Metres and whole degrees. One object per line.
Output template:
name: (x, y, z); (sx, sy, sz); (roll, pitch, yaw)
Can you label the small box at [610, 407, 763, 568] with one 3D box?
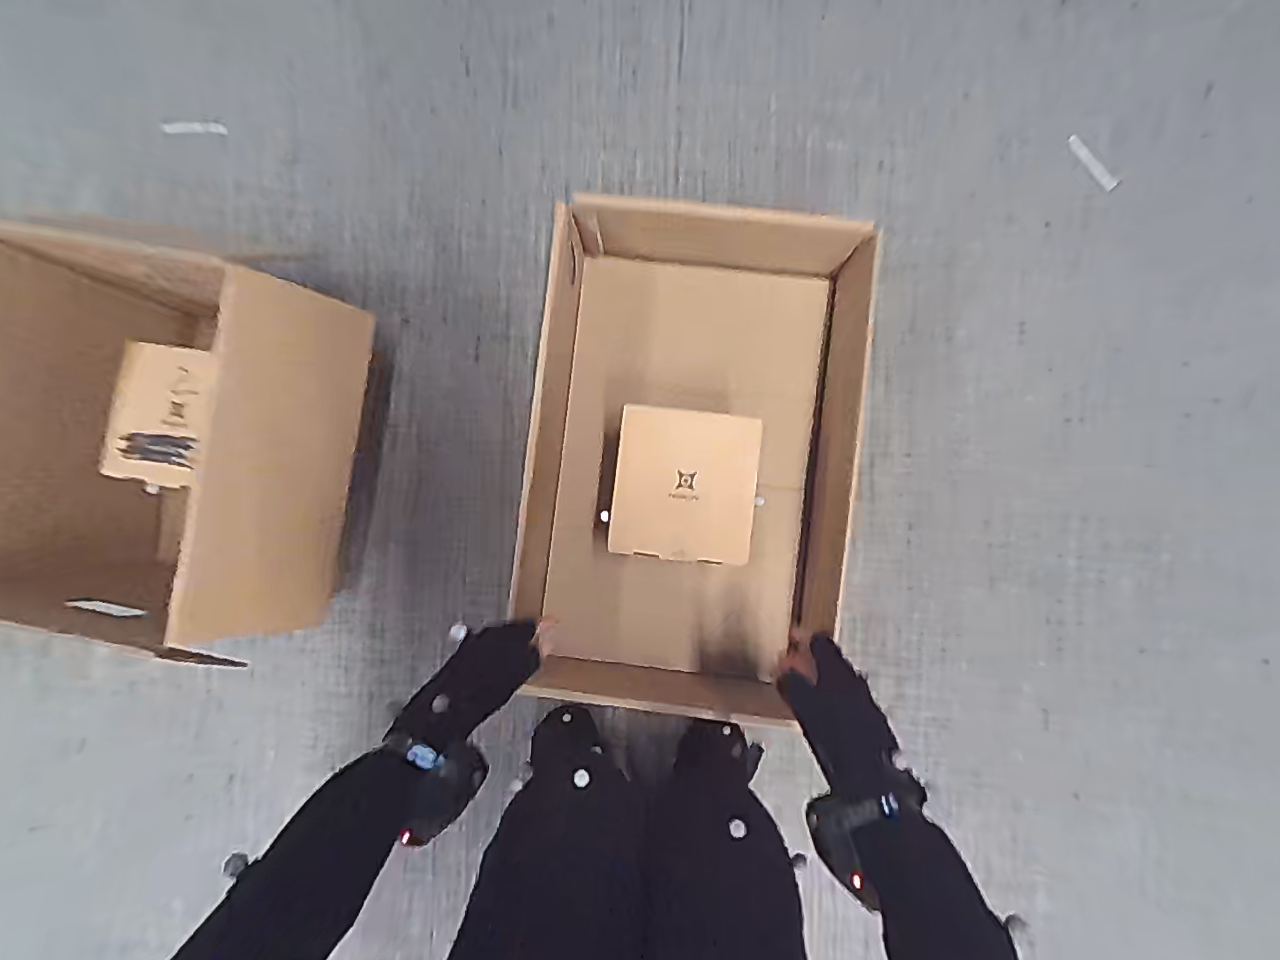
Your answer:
small box: (0.057, 0.012, 0.709); (0.168, 0.176, 0.179); (6, 88, 3)
